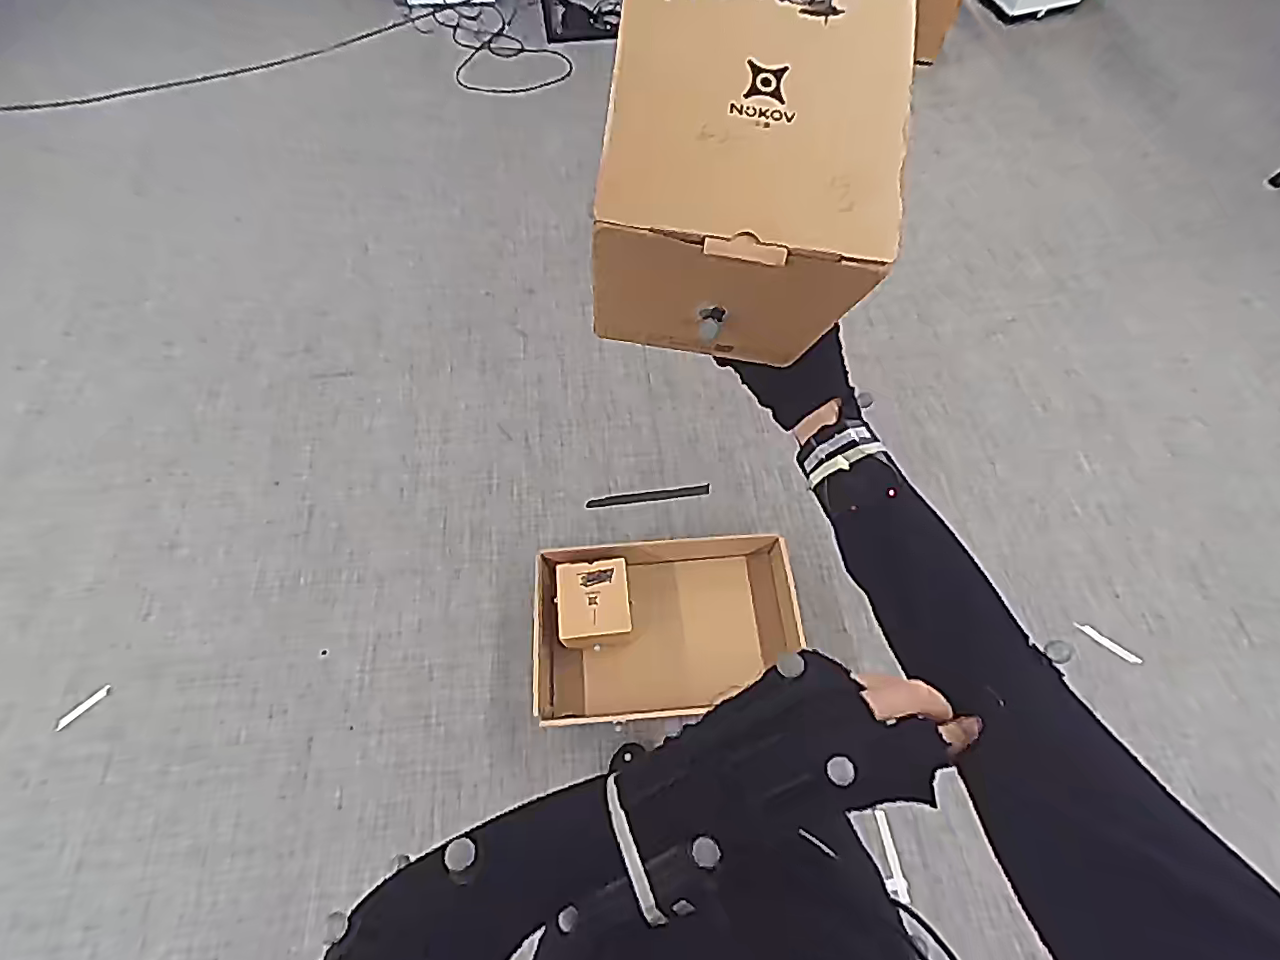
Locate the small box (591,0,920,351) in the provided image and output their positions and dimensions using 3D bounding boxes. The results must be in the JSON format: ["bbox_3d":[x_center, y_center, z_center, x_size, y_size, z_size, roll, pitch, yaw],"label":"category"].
[{"bbox_3d":[0.062,-0.204,0.374,0.168,0.176,0.179,8,84,-3],"label":"small box"}]
